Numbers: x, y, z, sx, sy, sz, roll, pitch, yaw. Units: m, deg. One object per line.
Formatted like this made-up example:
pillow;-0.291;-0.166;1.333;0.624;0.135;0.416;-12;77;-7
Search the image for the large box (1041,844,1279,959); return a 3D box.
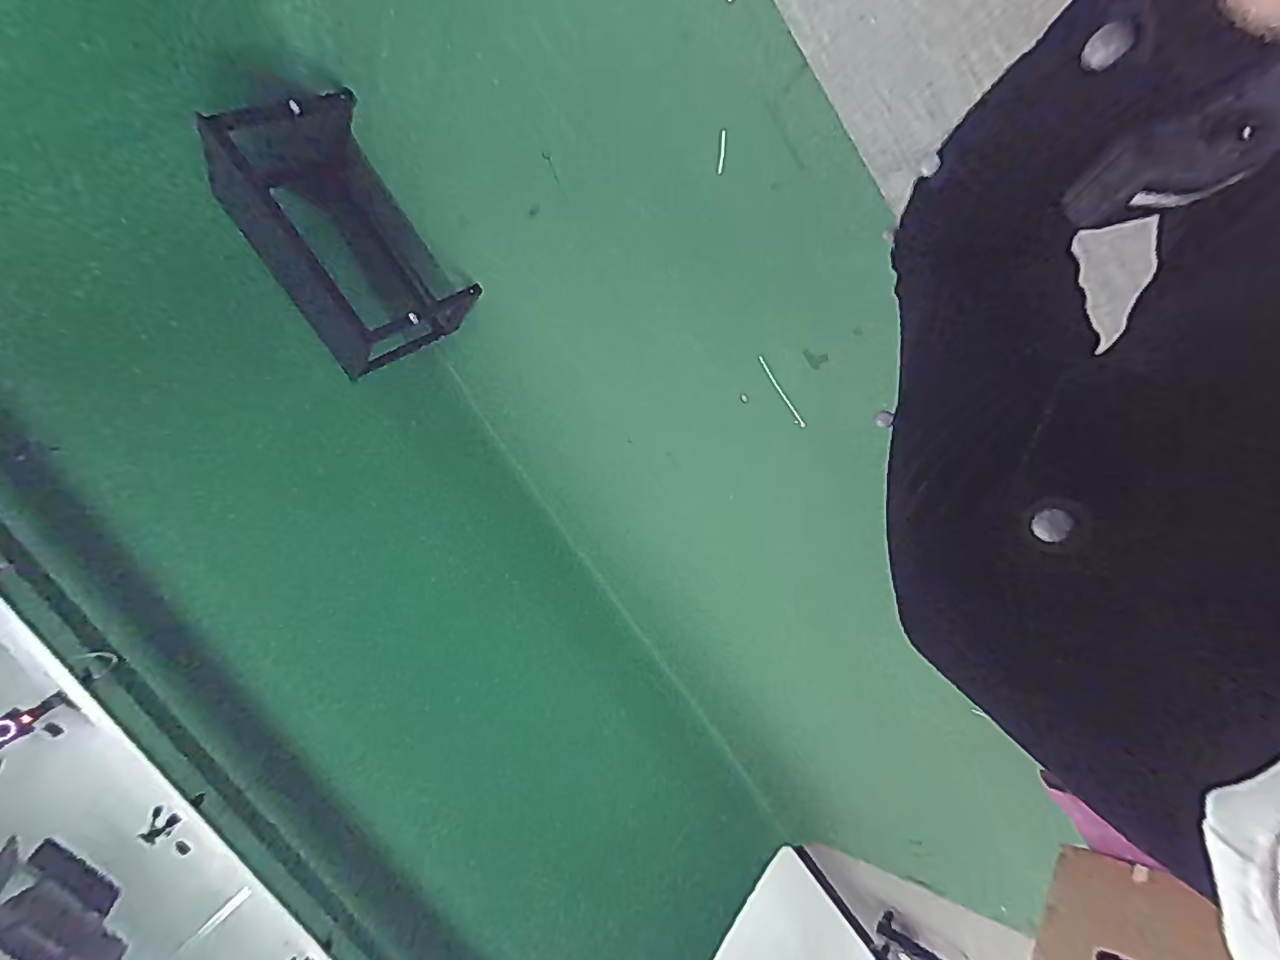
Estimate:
large box;1.110;1.062;1.098;0.408;0.320;0.320;55;146;-7
